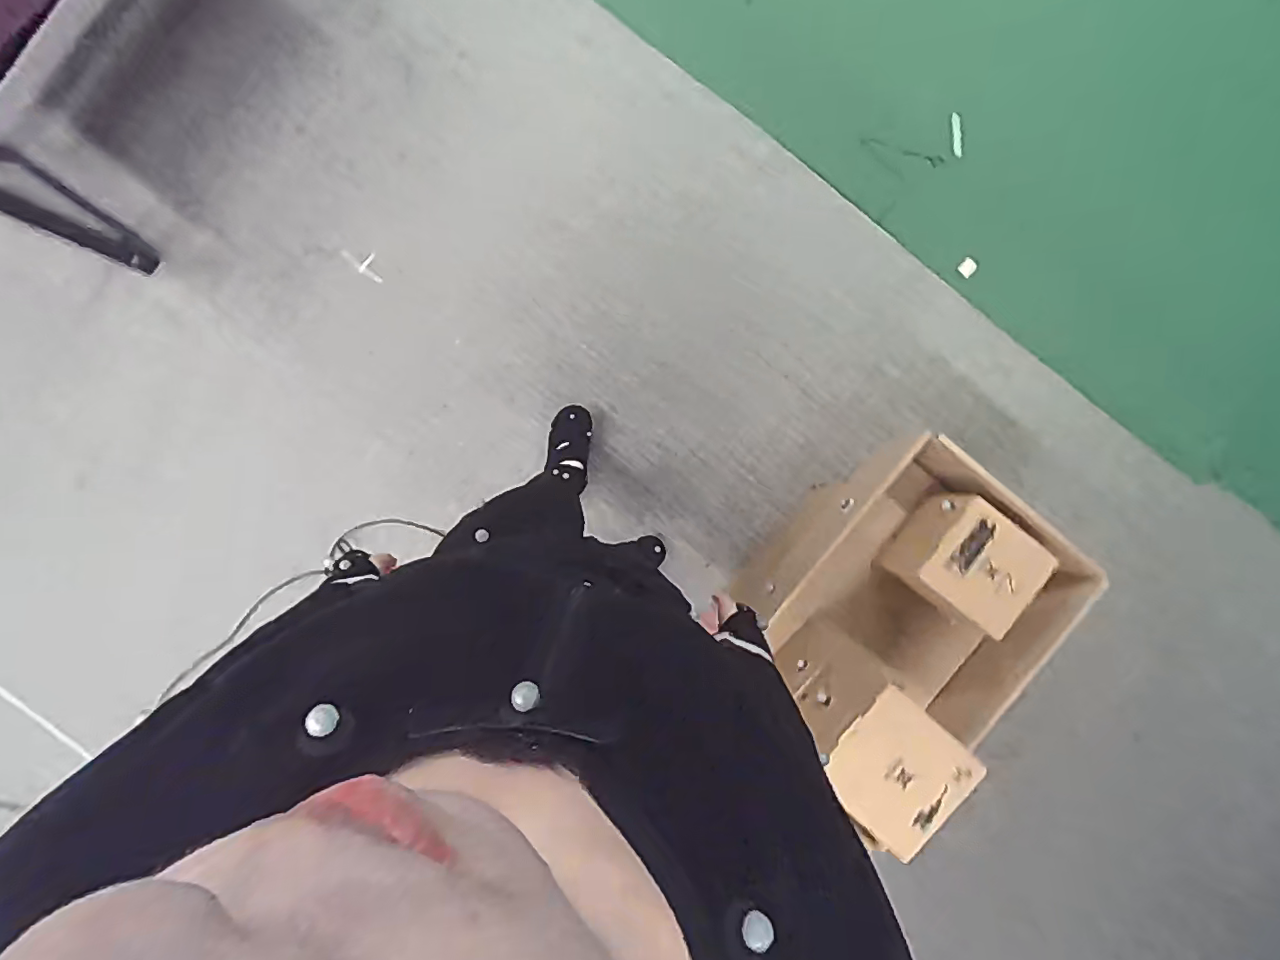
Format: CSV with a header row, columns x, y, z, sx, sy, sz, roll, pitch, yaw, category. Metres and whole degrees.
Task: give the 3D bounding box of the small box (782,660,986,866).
x,y,z,sx,sy,sz,roll,pitch,yaw,category
0.334,0.387,0.781,0.179,0.176,0.168,43,90,1,small box
